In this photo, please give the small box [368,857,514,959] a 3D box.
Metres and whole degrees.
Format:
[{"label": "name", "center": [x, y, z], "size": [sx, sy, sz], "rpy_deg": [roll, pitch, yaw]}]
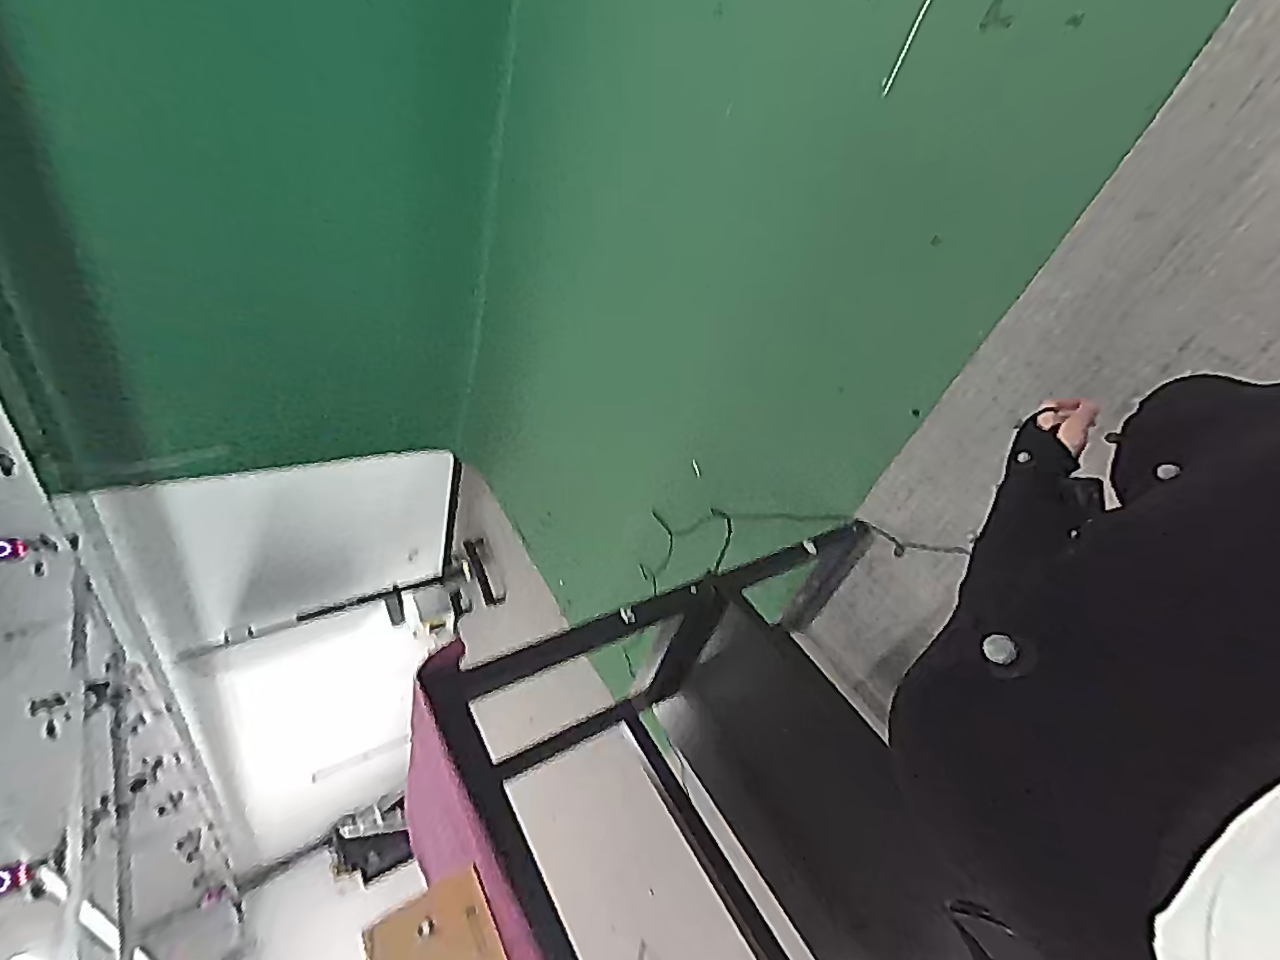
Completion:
[{"label": "small box", "center": [-0.305, 0.725, 0.834], "size": [0.168, 0.176, 0.179], "rpy_deg": [53, 138, 31]}]
